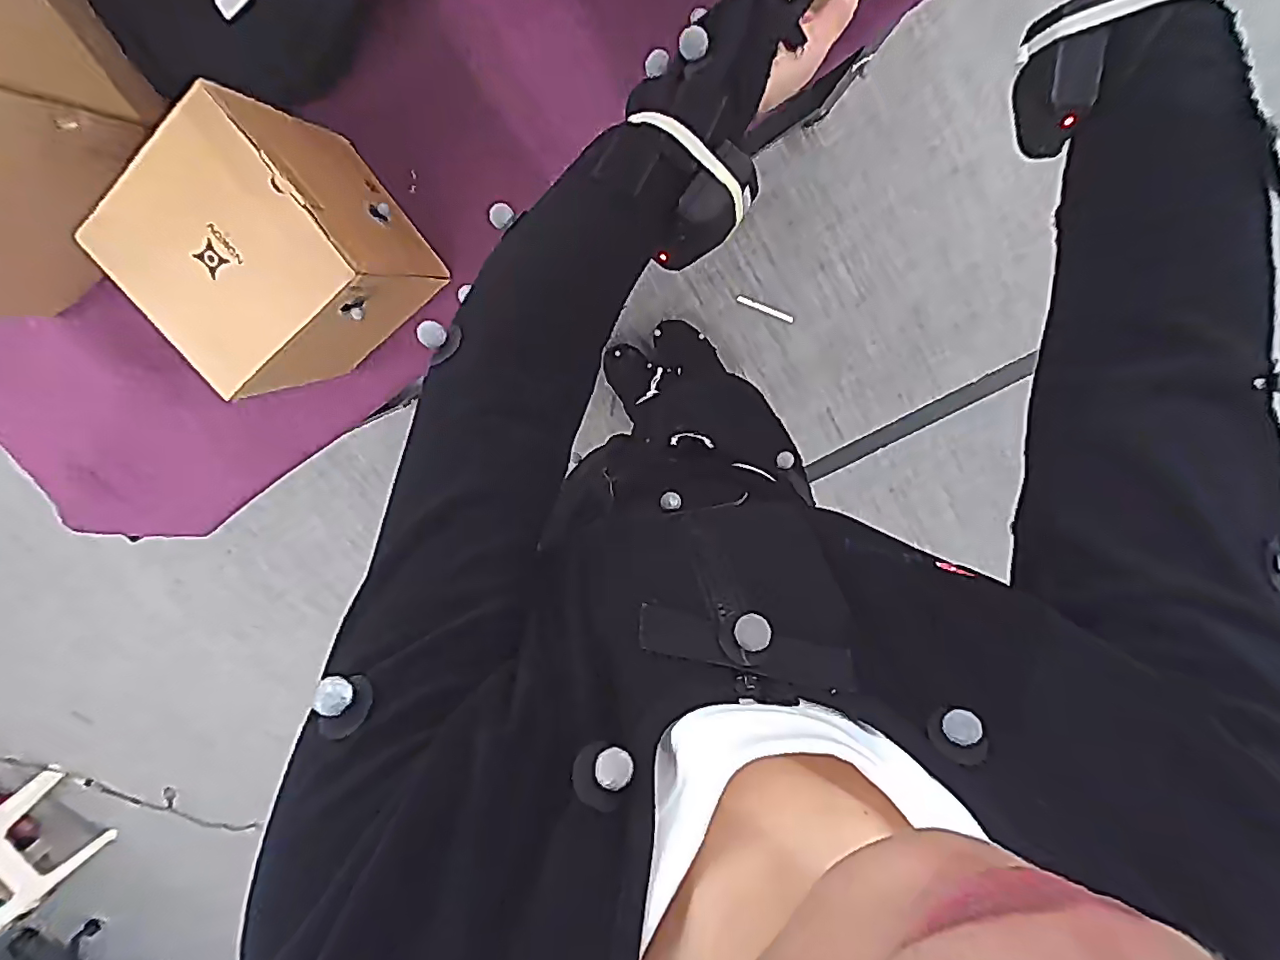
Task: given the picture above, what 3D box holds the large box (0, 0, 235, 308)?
[{"bbox_3d":[-0.652,-0.377,0.400,0.320,0.320,0.408,-30,108,15],"label":"large box"}]
